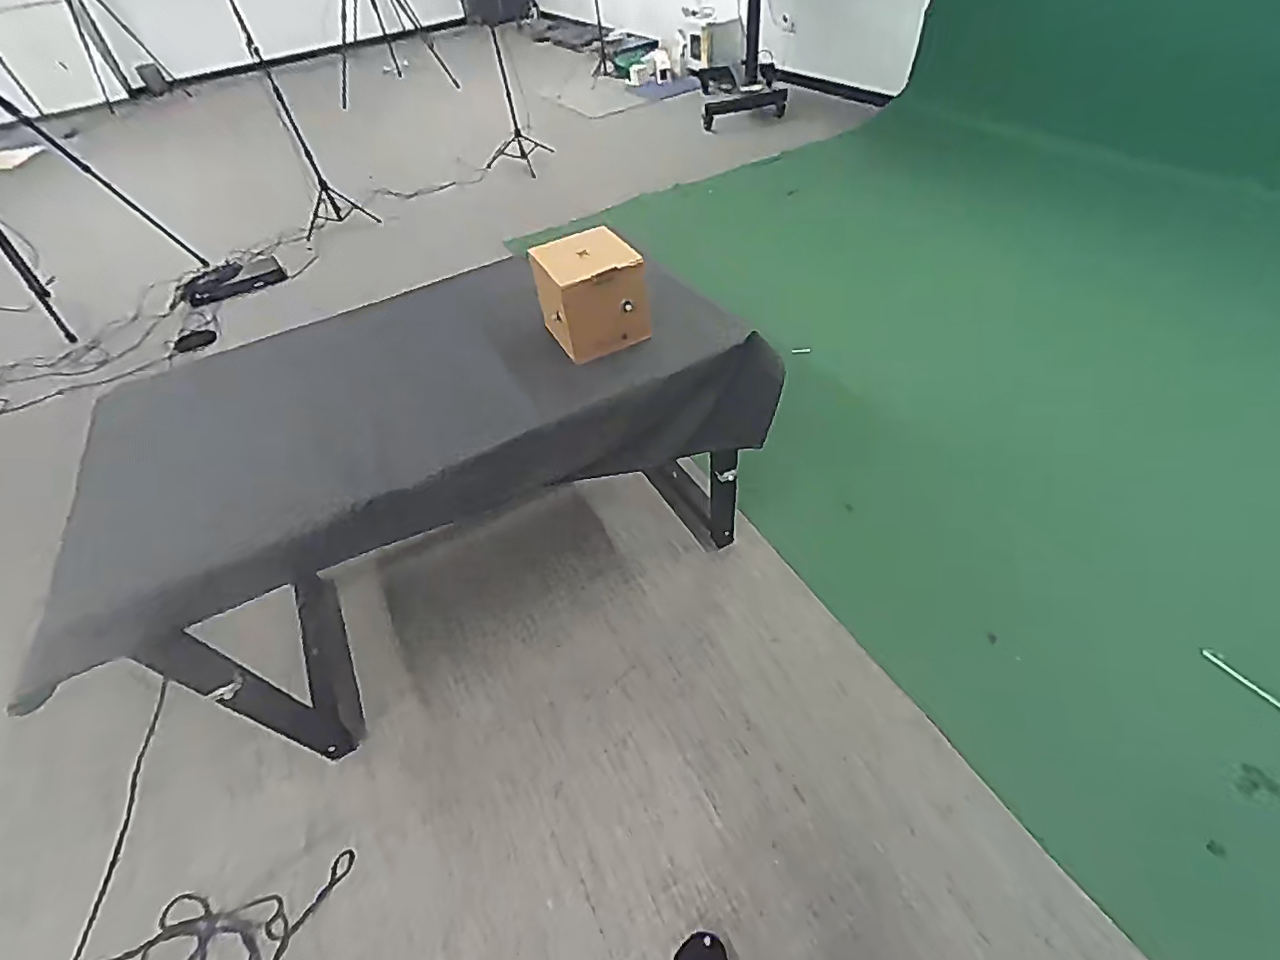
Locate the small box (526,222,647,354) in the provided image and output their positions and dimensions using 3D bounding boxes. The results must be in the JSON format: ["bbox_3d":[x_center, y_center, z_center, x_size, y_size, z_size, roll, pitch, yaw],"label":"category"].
[{"bbox_3d":[-0.097,-0.363,1.038,0.168,0.176,0.179,-24,49,-15],"label":"small box"}]
